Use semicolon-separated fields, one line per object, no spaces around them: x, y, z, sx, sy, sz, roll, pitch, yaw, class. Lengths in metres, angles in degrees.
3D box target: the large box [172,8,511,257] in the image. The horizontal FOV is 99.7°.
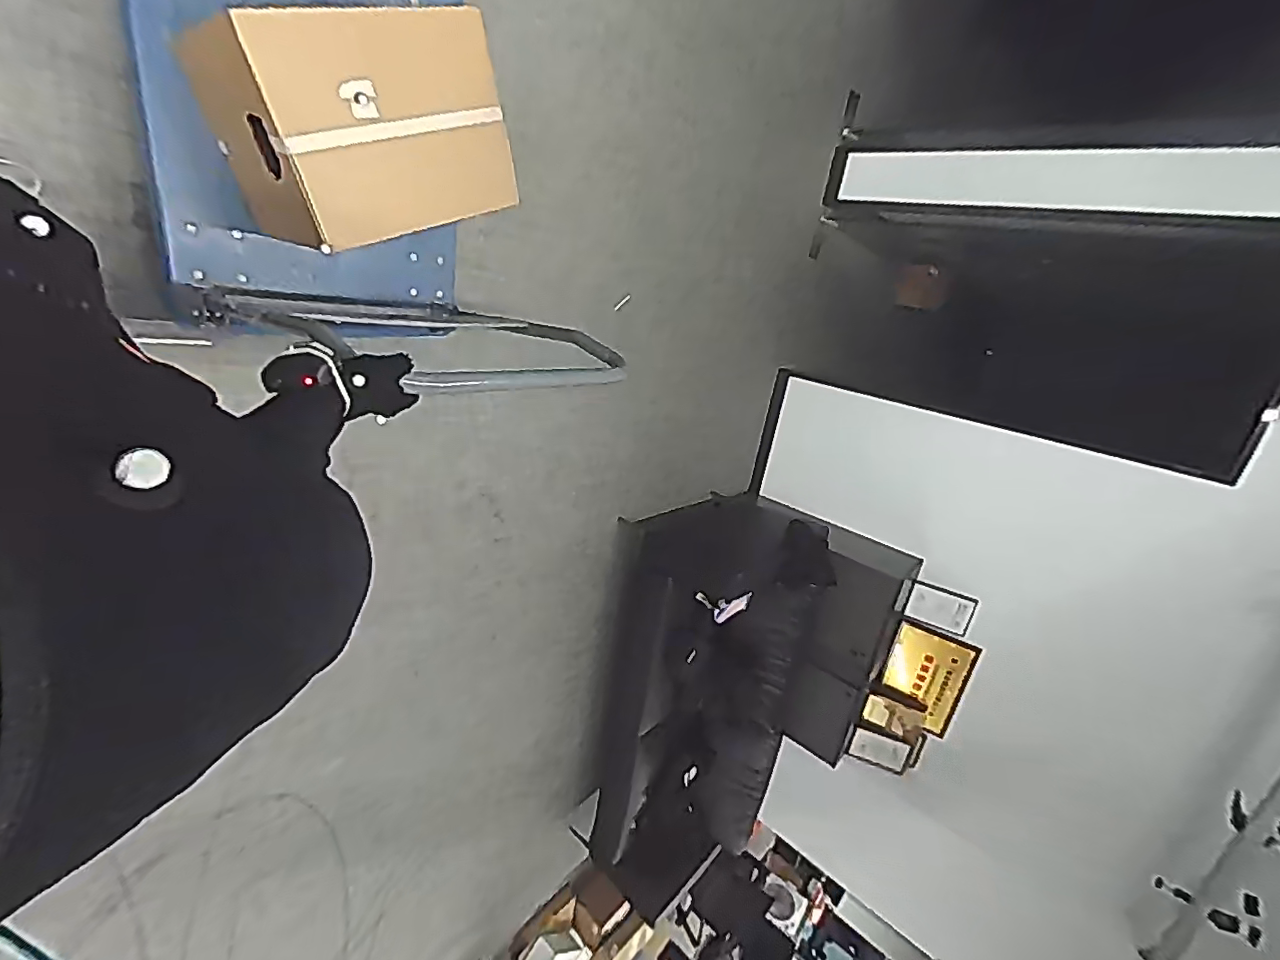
-0.516;-0.643;0.998;0.408;0.320;0.320;-36;136;-34;large box
